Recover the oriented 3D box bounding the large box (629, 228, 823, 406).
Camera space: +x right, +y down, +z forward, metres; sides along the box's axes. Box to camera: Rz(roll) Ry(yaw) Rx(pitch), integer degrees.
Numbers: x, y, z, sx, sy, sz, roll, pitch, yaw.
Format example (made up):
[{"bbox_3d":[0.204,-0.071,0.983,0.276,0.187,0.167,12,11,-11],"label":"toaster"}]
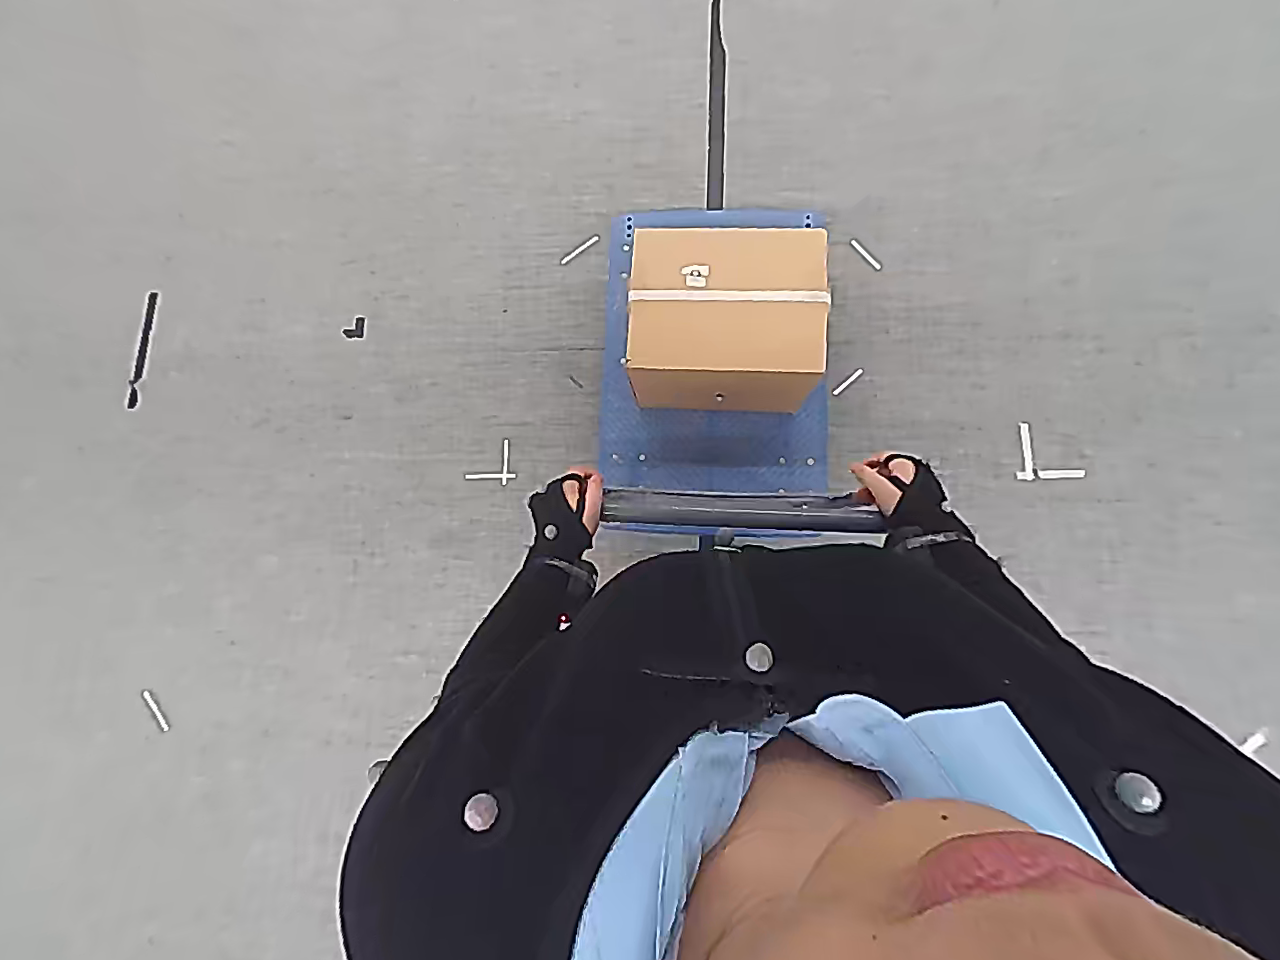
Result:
[{"bbox_3d":[0.197,-0.362,1.282,0.408,0.320,0.320,2,81,6],"label":"large box"}]
